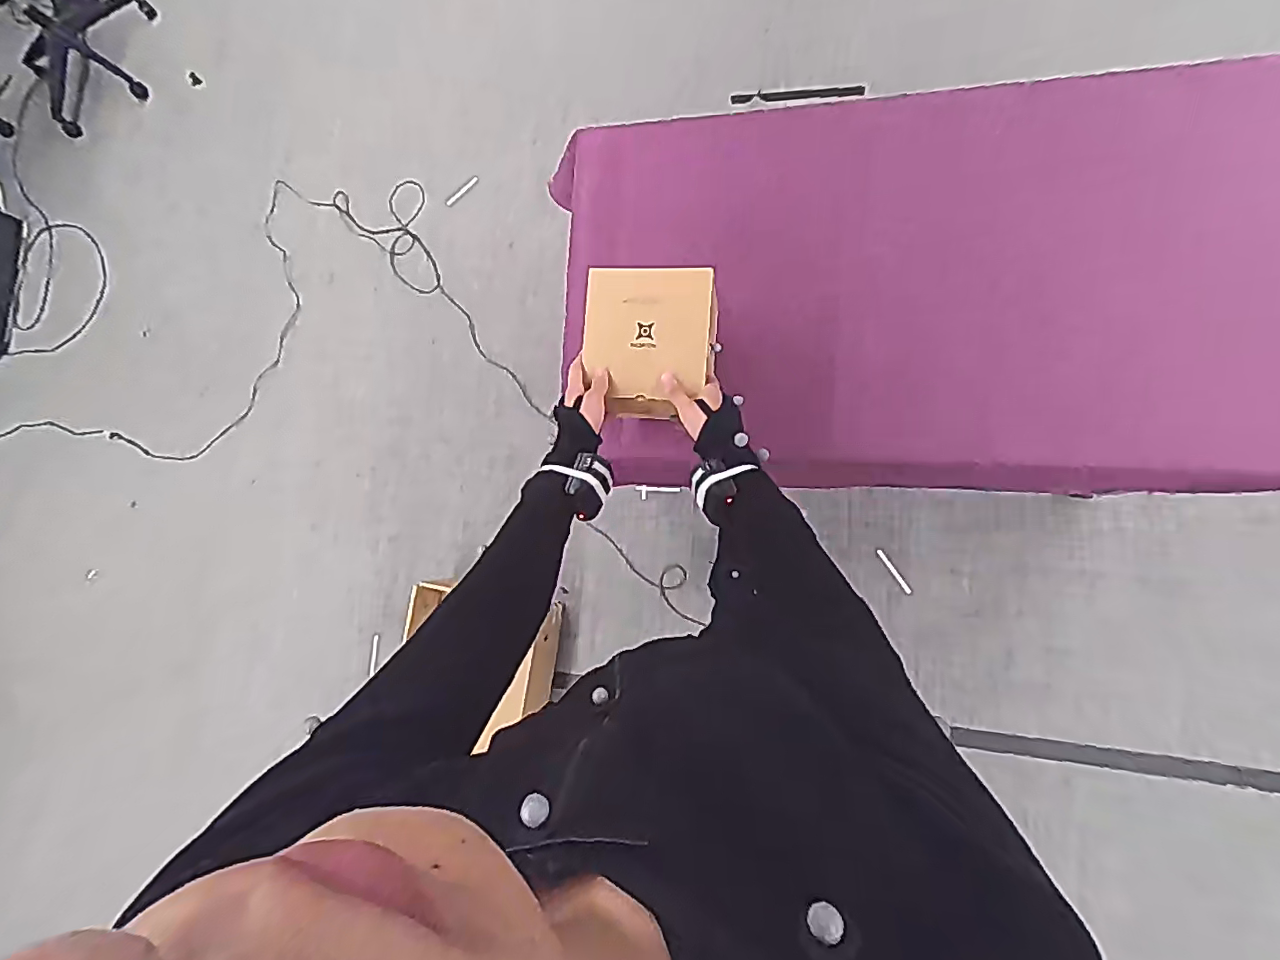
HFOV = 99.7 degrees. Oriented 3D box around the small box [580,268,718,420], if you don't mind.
[{"bbox_3d":[0.021,-0.183,0.771,0.168,0.176,0.179,4,89,10],"label":"small box"}]
